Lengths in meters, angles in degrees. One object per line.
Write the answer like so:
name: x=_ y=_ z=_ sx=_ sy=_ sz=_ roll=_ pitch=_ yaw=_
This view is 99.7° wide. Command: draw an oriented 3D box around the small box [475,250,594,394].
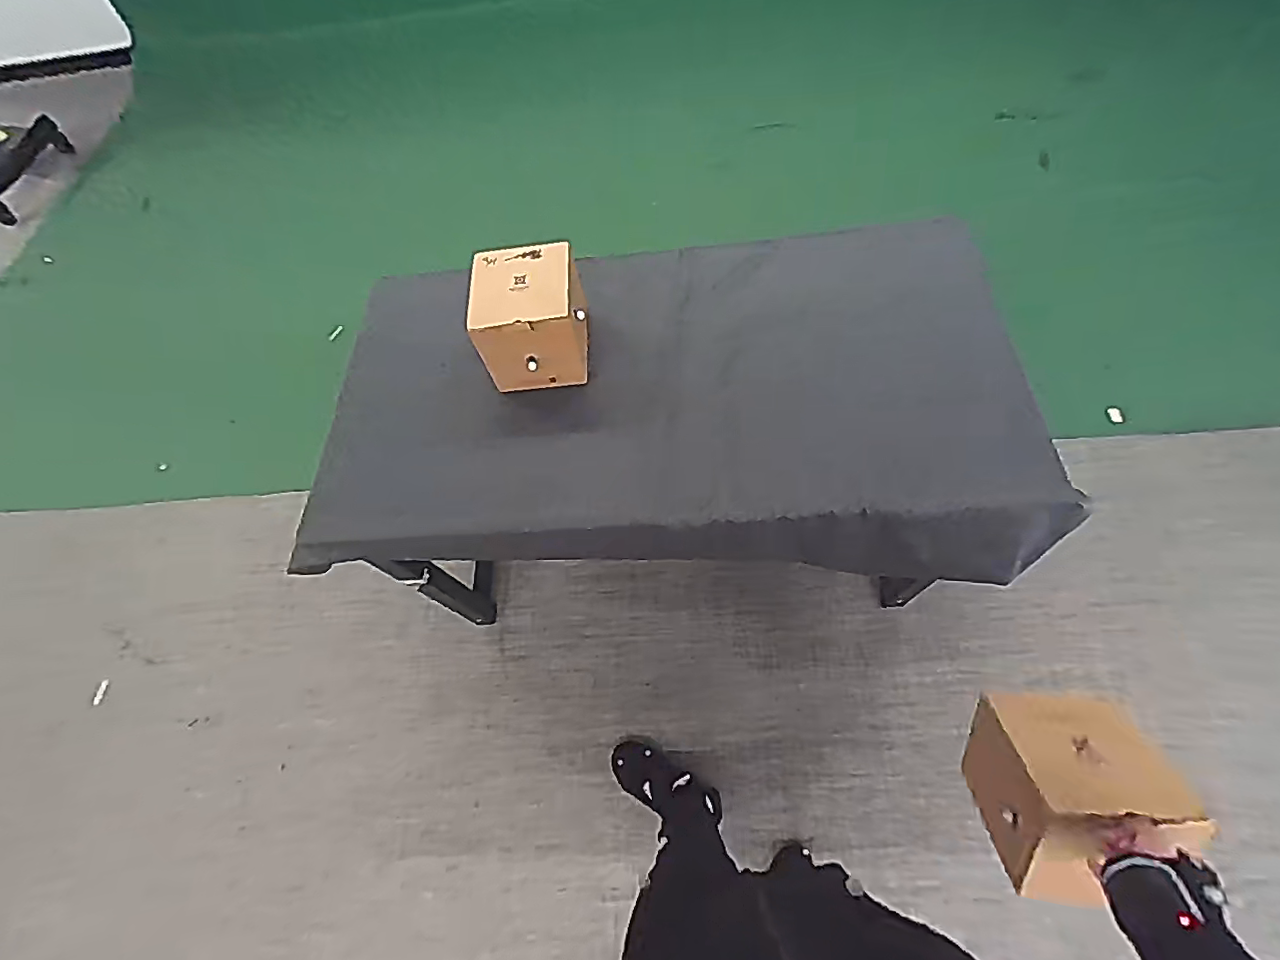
small box: x=-0.180 y=-0.270 z=0.962 sx=0.168 sy=0.176 sz=0.179 roll=-9 pitch=62 yaw=3

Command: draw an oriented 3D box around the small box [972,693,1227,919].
small box: x=0.552 y=0.404 z=0.684 sx=0.168 sy=0.176 sz=0.179 roll=3 pitch=22 yaw=9
